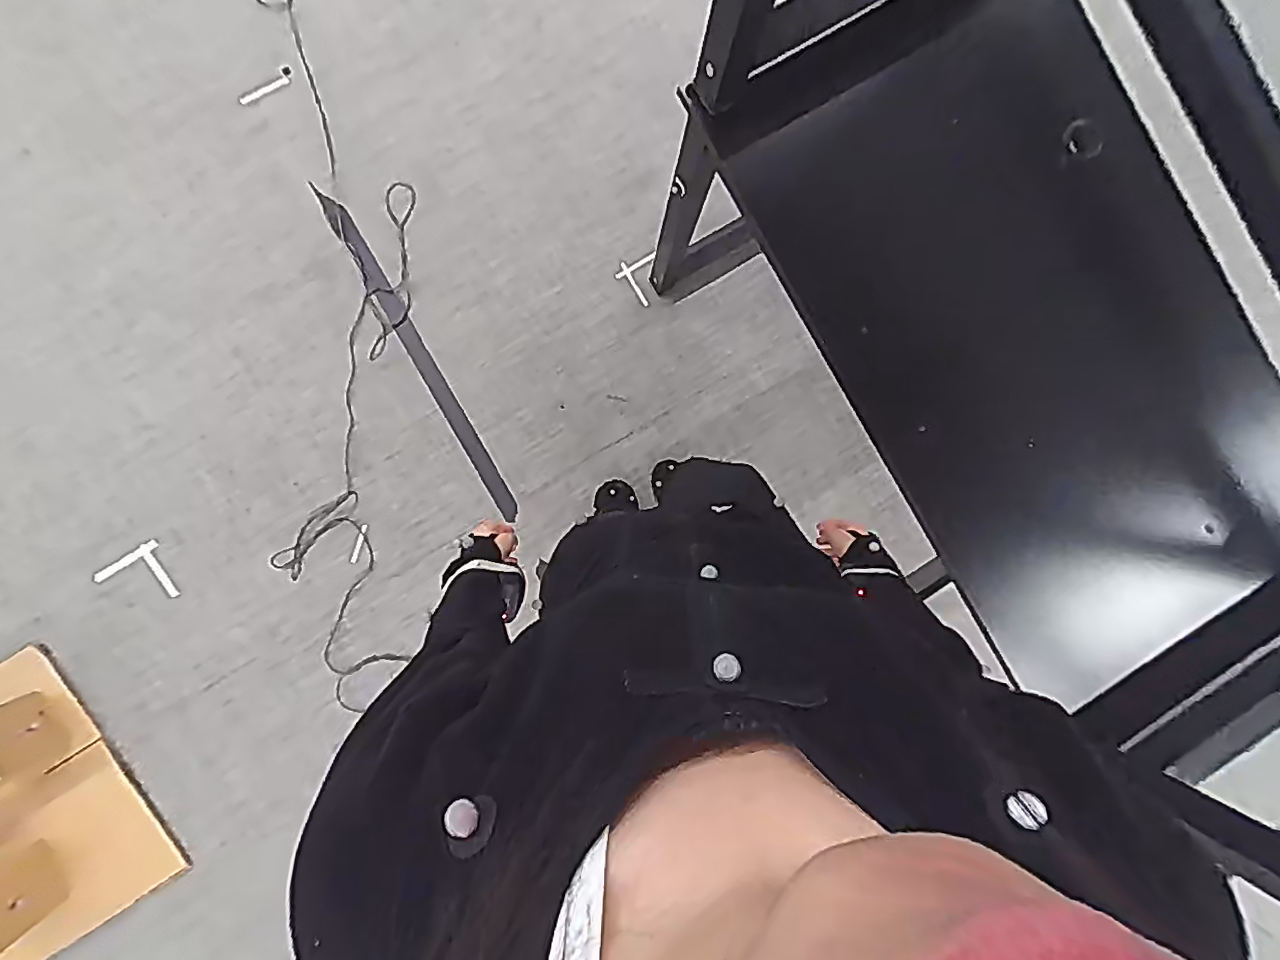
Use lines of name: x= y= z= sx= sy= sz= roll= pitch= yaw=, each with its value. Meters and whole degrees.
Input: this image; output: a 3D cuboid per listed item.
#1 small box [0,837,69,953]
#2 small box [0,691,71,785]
small box: x=-1.545 y=1.010 z=1.290 sx=0.168 sy=0.176 sz=0.179 roll=-23 pitch=93 yaw=-4
small box: x=-1.553 y=0.644 z=1.290 sx=0.179 sy=0.176 sz=0.168 roll=-31 pitch=93 yaw=-5
